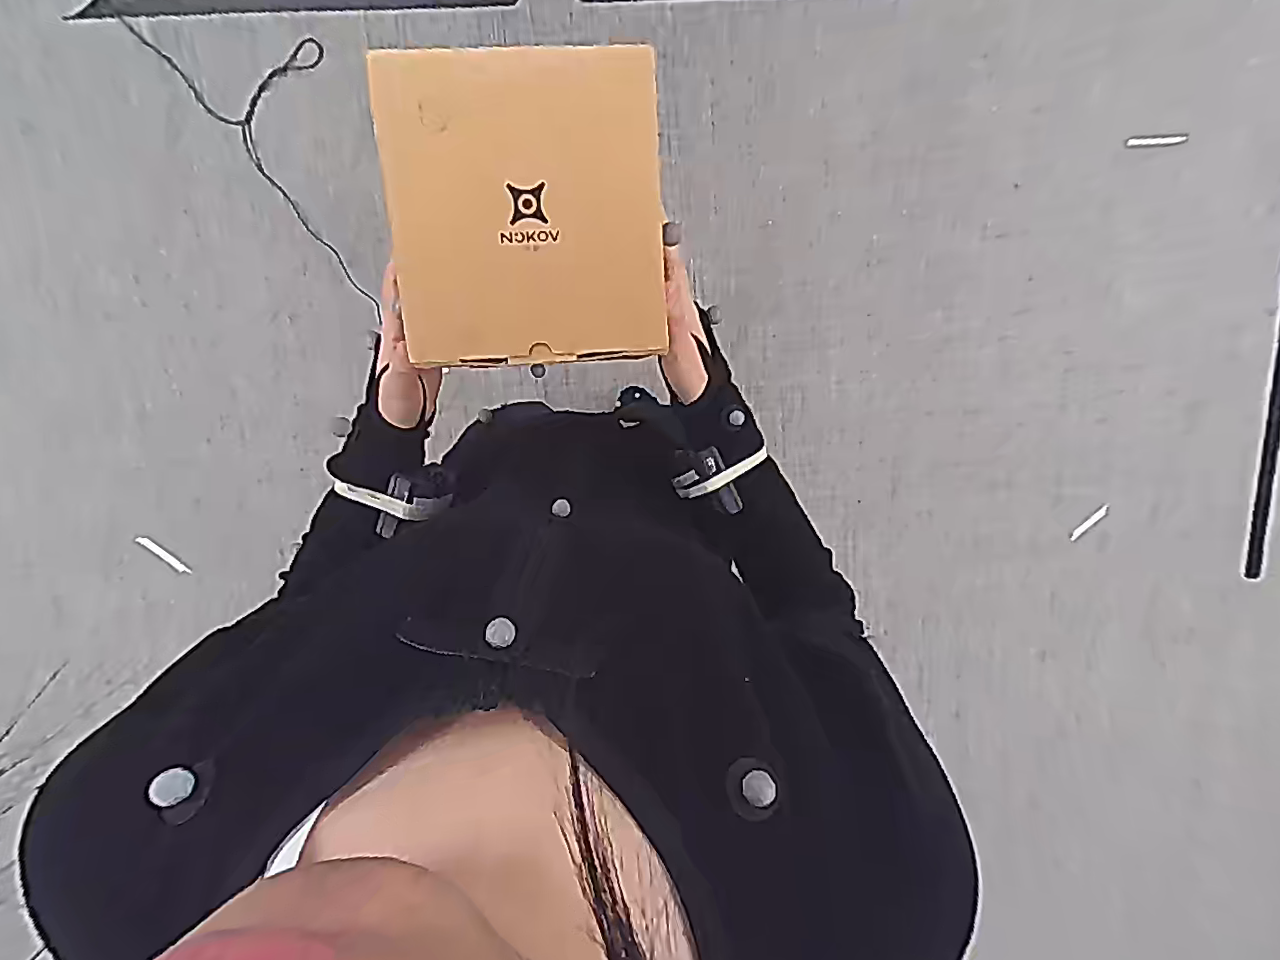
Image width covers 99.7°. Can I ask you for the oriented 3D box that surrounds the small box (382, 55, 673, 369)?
[{"bbox_3d":[-0.071,-0.177,0.409,0.168,0.176,0.179,-5,103,-4],"label":"small box"}]
